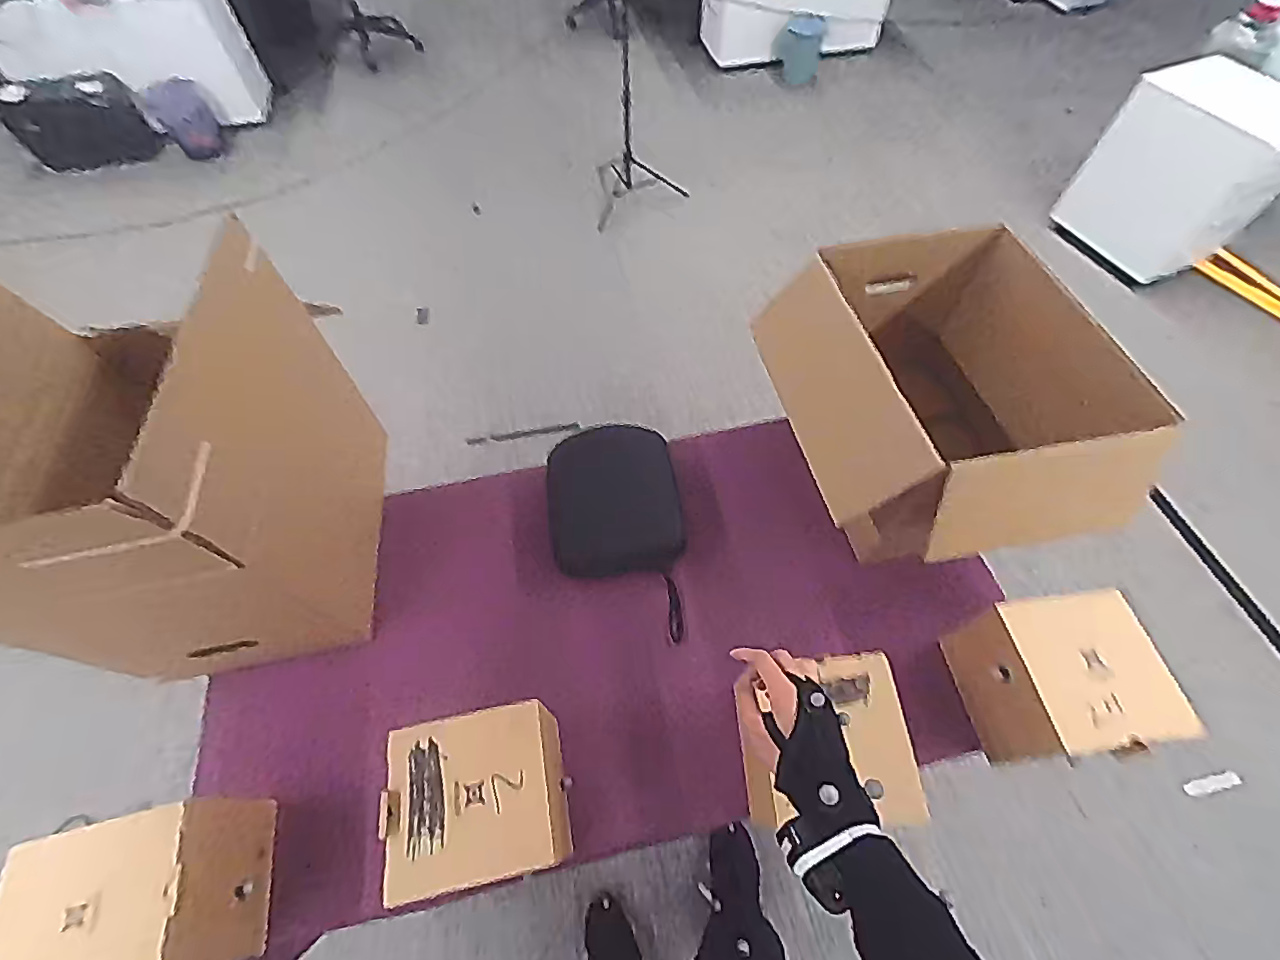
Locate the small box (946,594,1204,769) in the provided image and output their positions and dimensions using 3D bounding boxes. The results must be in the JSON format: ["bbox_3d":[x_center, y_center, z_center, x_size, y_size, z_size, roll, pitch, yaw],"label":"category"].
[{"bbox_3d":[0.543,0.269,0.712,0.168,0.176,0.179,-7,59,-2],"label":"small box"}]

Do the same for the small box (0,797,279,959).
[{"bbox_3d":[-0.552,0.476,0.610,0.179,0.176,0.168,-12,59,-8],"label":"small box"}]
